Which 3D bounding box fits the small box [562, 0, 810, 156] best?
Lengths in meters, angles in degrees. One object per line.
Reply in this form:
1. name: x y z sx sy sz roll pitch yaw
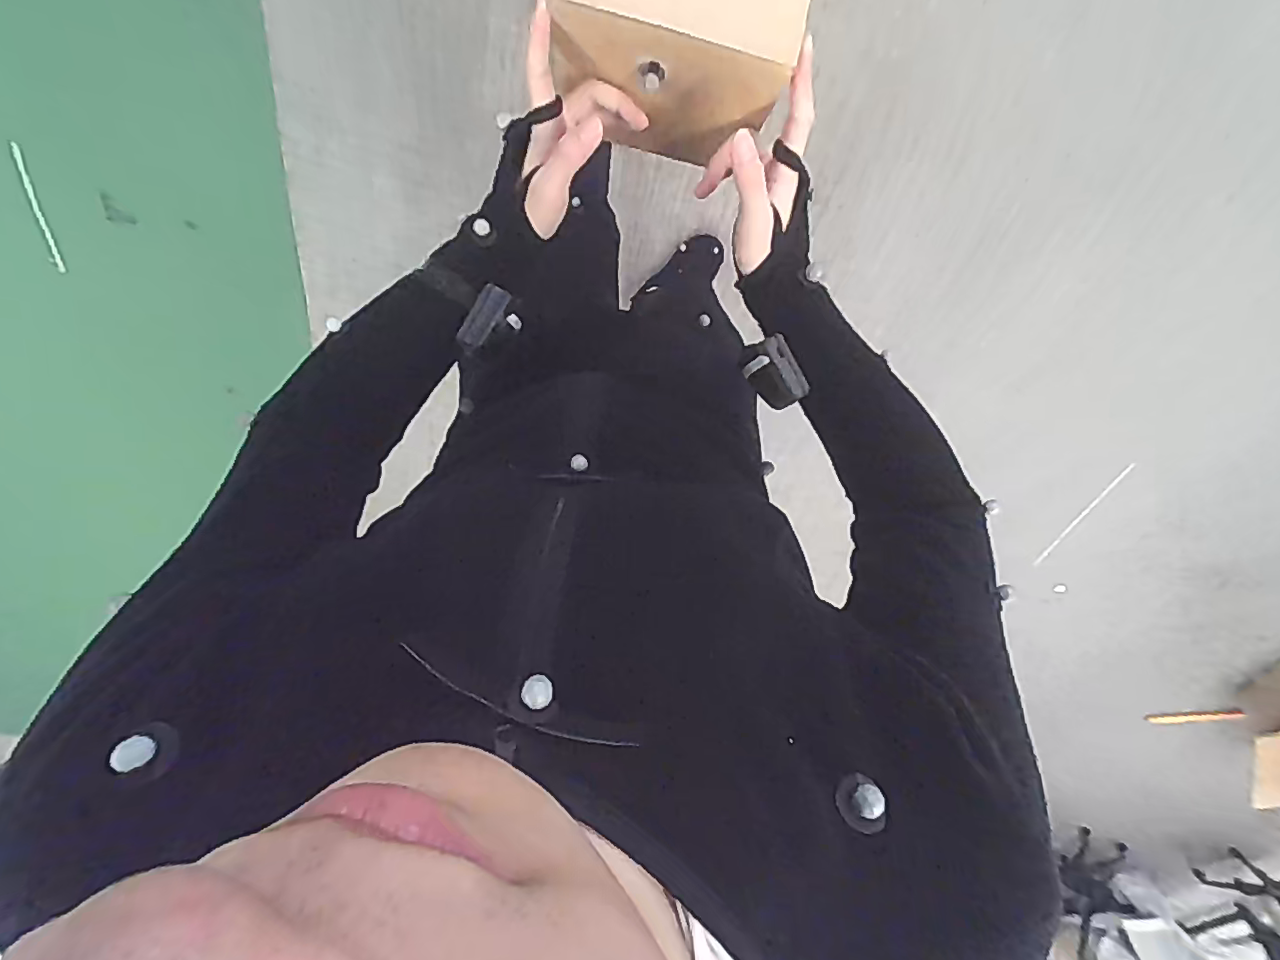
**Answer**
1. small box: 0.036 -0.397 0.434 0.179 0.176 0.168 12 95 -6
